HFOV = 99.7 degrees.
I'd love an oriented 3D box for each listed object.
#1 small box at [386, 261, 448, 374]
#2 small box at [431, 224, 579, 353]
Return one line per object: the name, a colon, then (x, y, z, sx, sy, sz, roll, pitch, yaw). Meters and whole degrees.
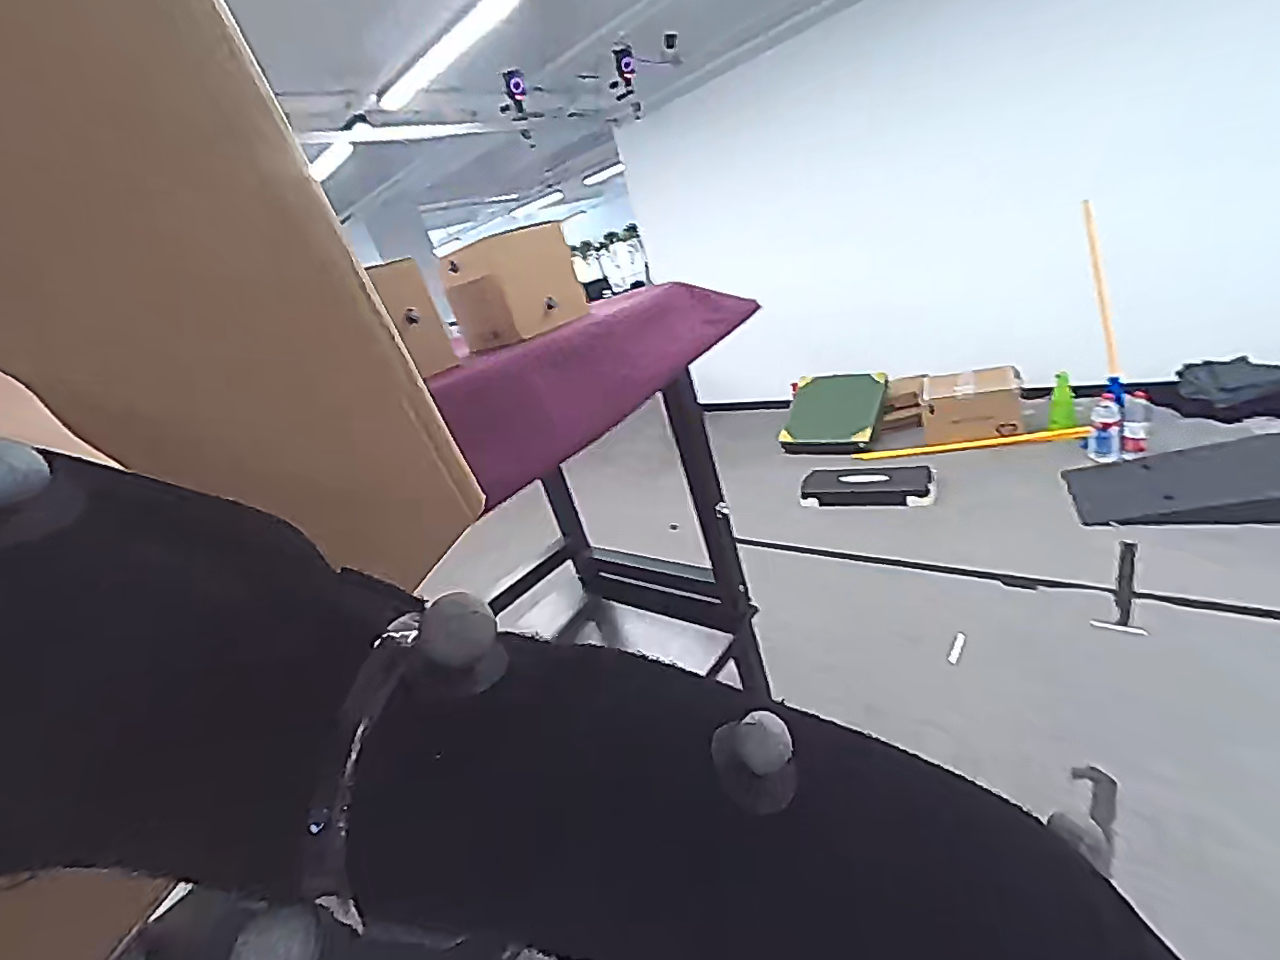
small box: (-0.418, -0.212, 0.819, 0.168, 0.176, 0.179, 3, 30, 43)
small box: (-0.228, -0.336, 0.963, 0.168, 0.176, 0.179, 2, 28, 42)
